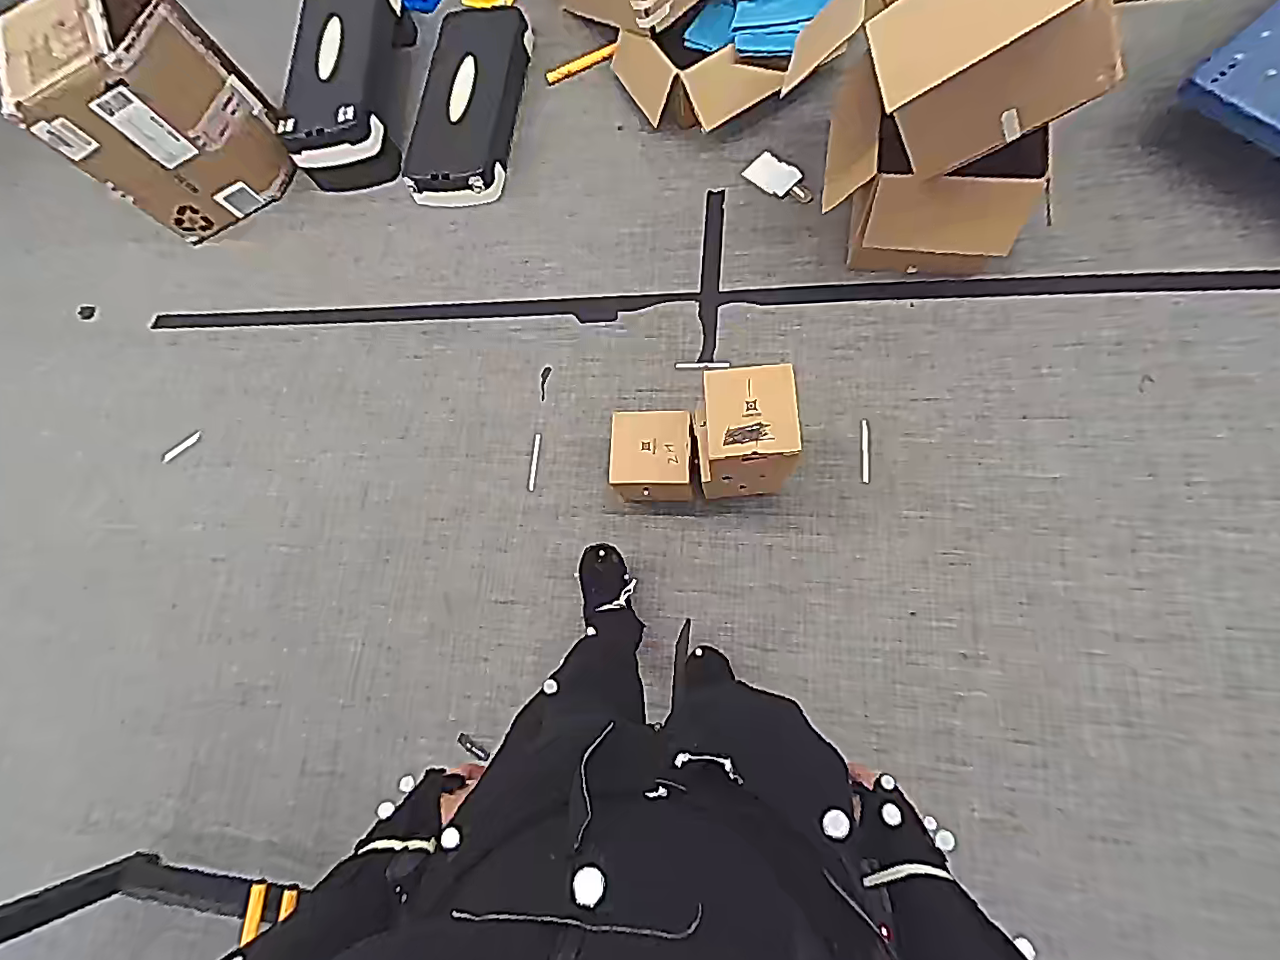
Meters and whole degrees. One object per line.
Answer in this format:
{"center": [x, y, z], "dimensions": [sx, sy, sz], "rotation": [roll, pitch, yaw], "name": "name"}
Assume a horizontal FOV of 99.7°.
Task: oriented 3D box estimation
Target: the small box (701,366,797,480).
{"center": [0.210, -0.102, 1.060], "dimensions": [0.168, 0.176, 0.179], "rotation": [-4, 74, 8], "name": "small box"}
